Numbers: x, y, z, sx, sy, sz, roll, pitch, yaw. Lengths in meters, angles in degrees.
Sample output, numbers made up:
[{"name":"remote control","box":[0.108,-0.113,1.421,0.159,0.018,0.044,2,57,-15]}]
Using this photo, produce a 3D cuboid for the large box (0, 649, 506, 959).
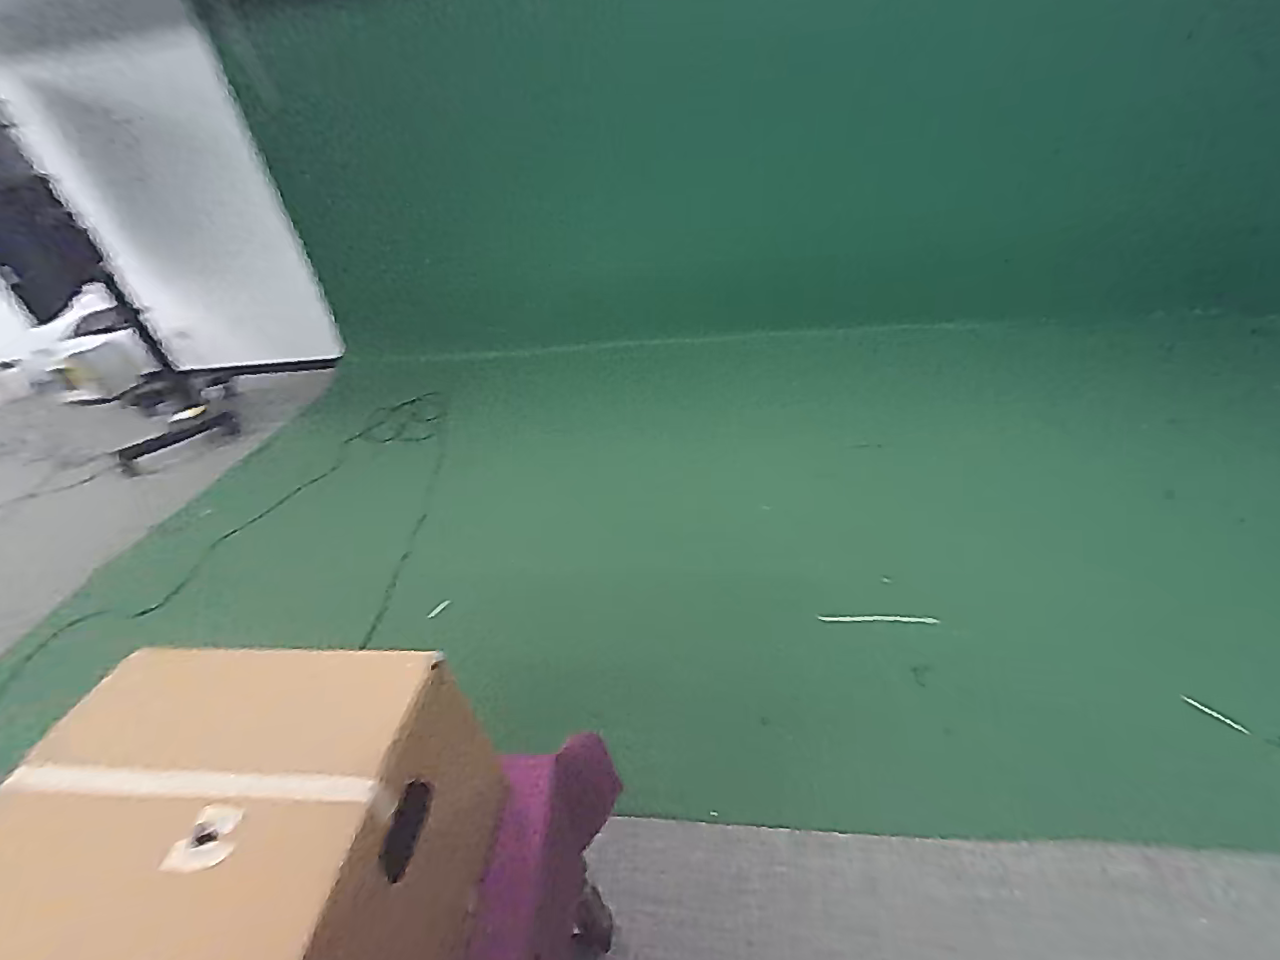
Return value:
[{"name":"large box","box":[-0.418,0.419,0.623,0.408,0.320,0.320,-1,36,7]}]
